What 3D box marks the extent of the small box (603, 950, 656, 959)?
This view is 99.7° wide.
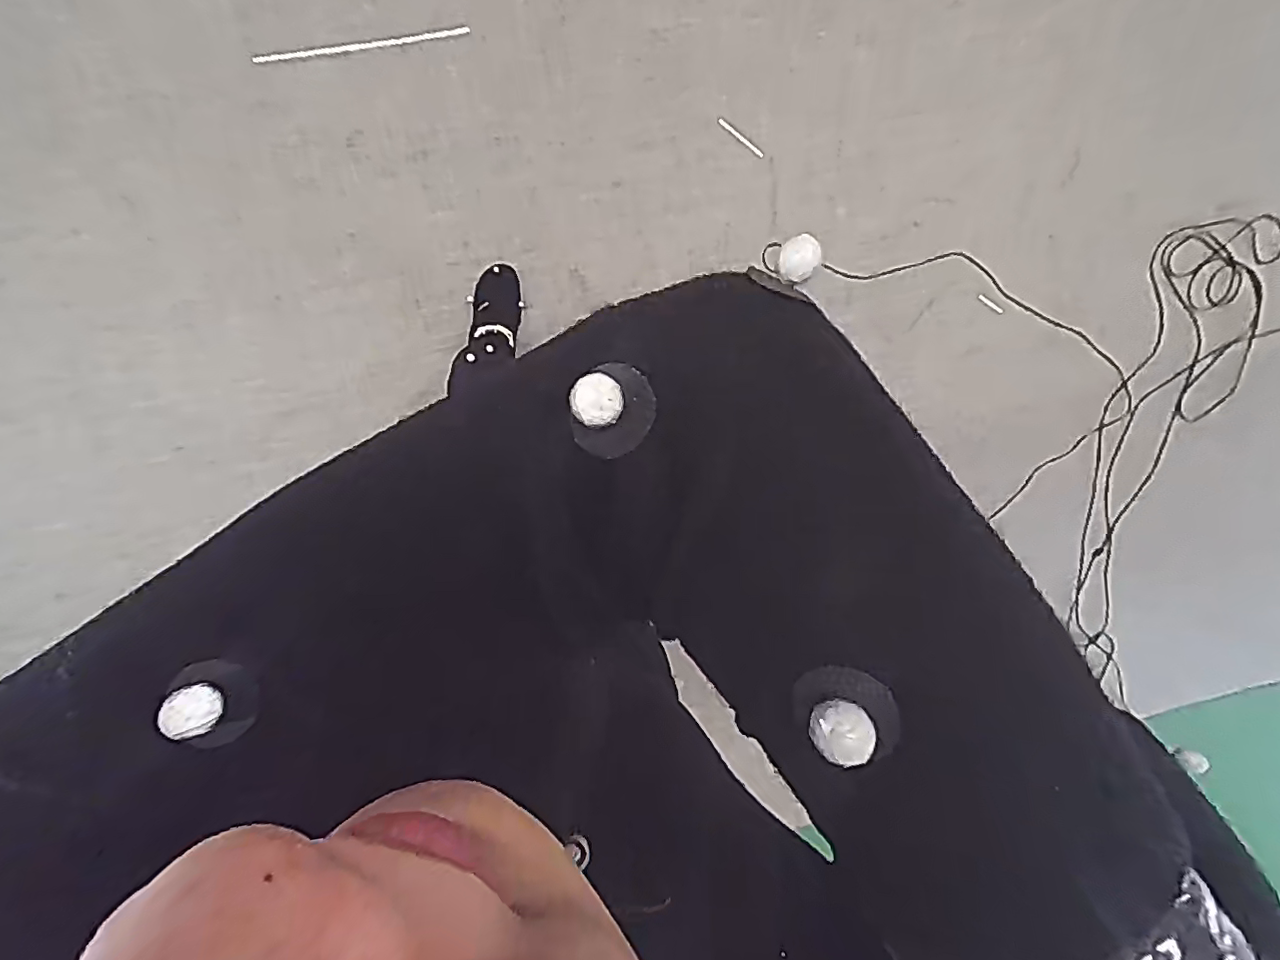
[{"bbox_3d":[-0.022,1.554,1.615,0.168,0.176,0.179,-4,103,-7],"label":"small box"}]
